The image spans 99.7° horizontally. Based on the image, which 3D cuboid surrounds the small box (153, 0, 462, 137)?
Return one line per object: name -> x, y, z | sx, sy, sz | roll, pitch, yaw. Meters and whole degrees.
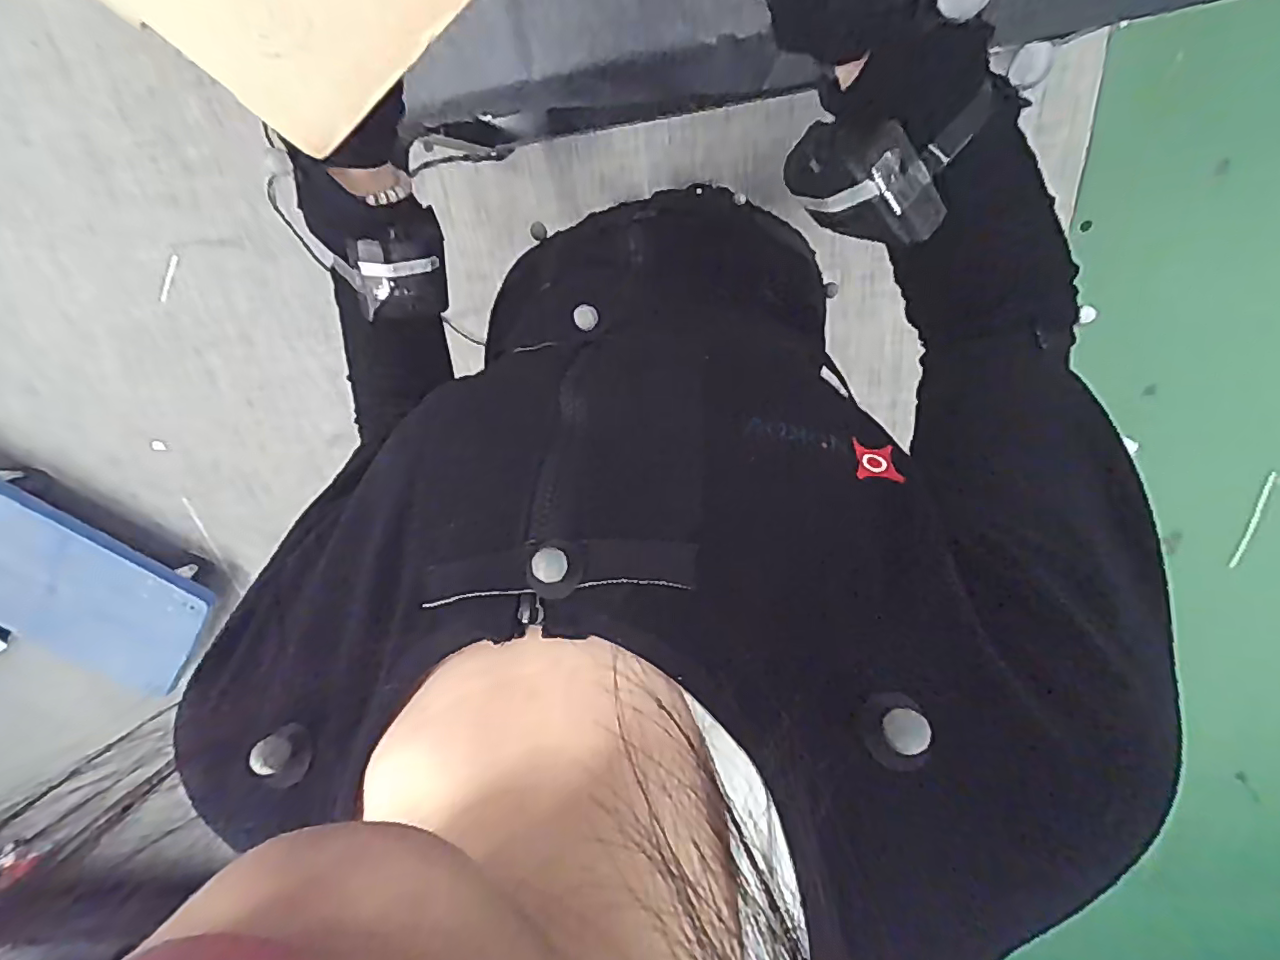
small box -> -0.102, -0.259, 0.154 | 0.179, 0.176, 0.168 | -13, 151, 33
